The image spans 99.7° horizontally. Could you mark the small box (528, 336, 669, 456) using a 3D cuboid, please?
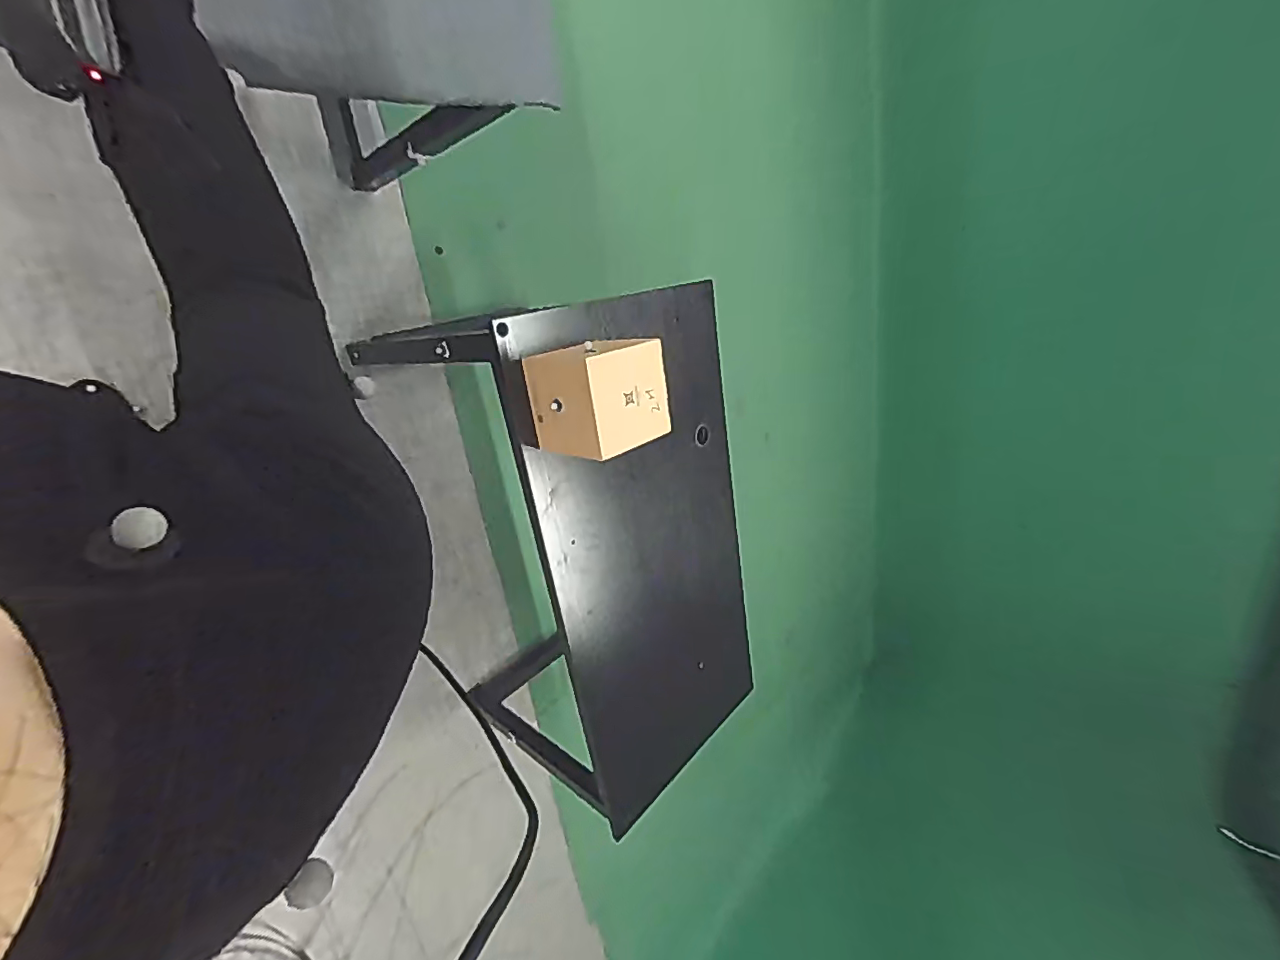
[{"bbox_3d":[-0.075,-0.150,0.932,0.179,0.176,0.168,-26,118,-41],"label":"small box"}]
